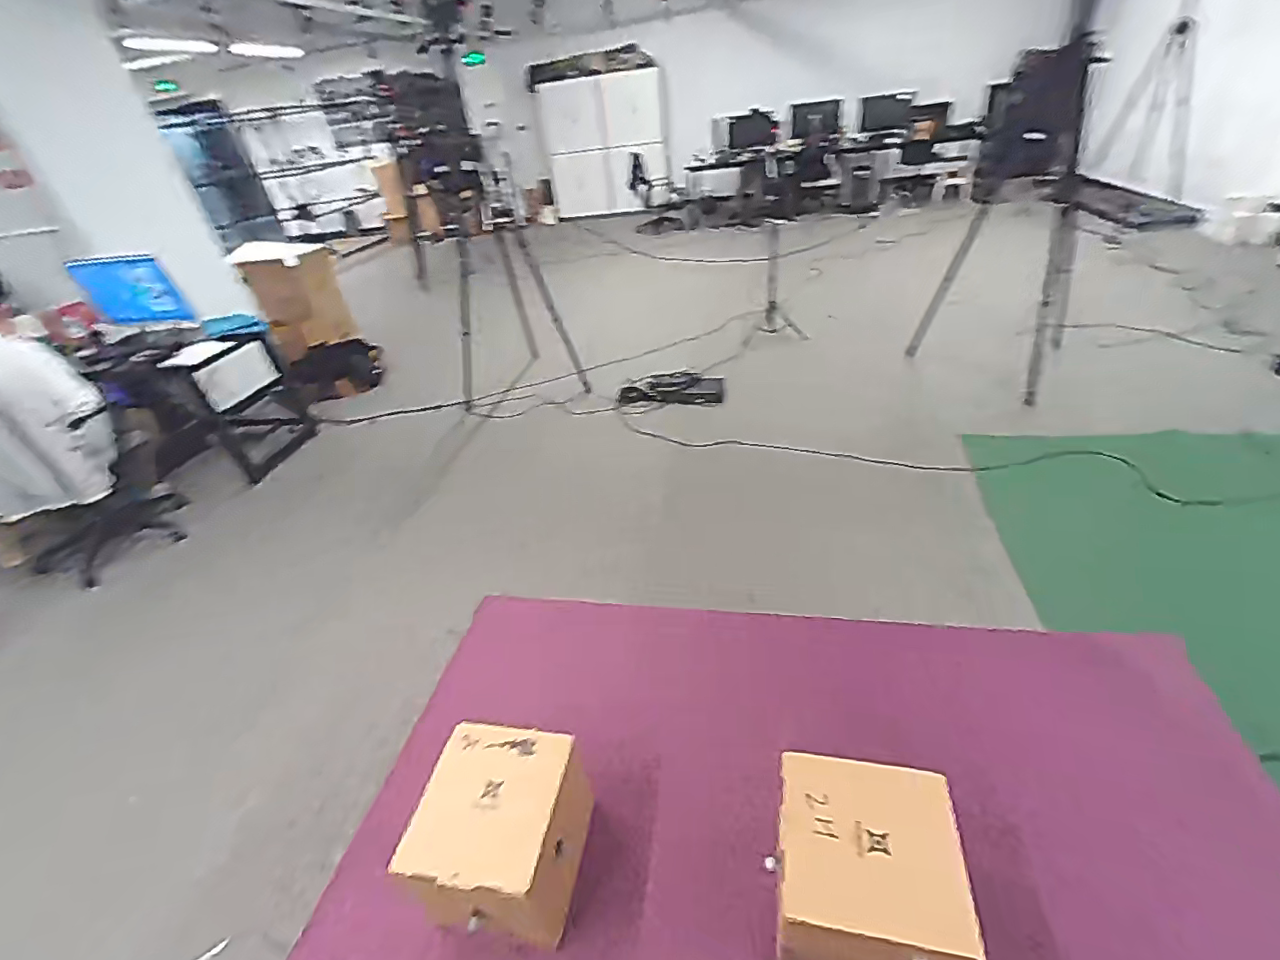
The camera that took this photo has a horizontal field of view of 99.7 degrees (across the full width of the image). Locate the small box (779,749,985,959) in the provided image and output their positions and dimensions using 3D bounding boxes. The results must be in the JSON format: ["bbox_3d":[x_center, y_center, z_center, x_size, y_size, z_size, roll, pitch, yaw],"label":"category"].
[{"bbox_3d":[0.249,0.435,0.603,0.179,0.176,0.168,1,35,15],"label":"small box"}]

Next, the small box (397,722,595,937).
[{"bbox_3d":[-0.165,0.443,0.690,0.168,0.176,0.179,0,36,13],"label":"small box"}]
